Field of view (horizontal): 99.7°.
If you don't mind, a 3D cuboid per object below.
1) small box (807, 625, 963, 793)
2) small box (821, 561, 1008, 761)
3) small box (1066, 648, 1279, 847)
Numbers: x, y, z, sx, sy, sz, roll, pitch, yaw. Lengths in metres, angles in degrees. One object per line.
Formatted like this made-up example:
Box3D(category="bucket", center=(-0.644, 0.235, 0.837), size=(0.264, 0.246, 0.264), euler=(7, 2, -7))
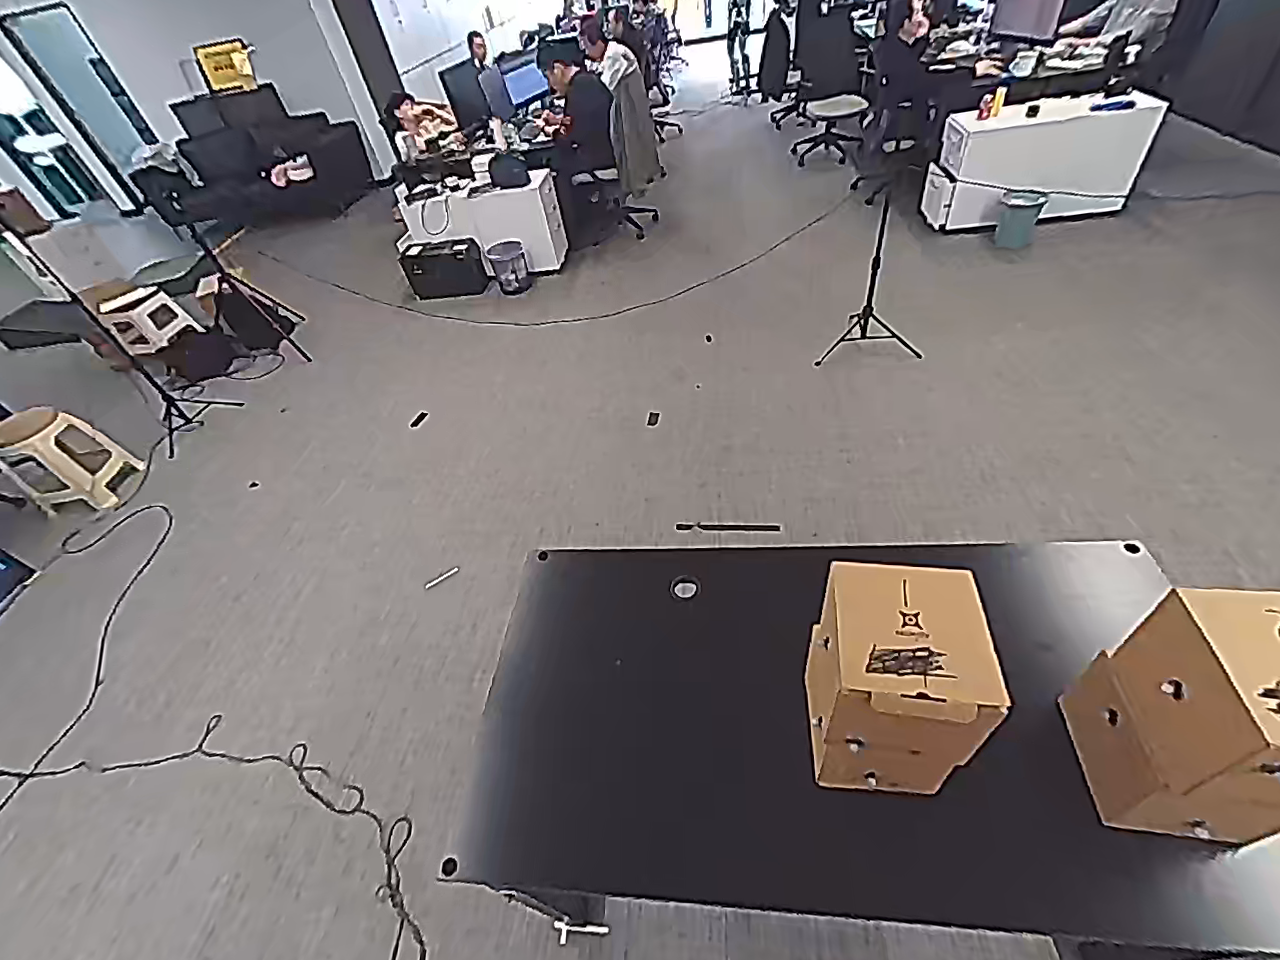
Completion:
Box3D(category="small box", center=(0.343, 0.334, 0.793), size=(0.168, 0.176, 0.179), euler=(-2, 45, 10))
Box3D(category="small box", center=(0.320, 0.225, 0.672), size=(0.168, 0.176, 0.179), euler=(3, 46, 13))
Box3D(category="small box", center=(0.701, 0.345, 0.703), size=(0.168, 0.176, 0.179), euler=(1, 45, 14))
